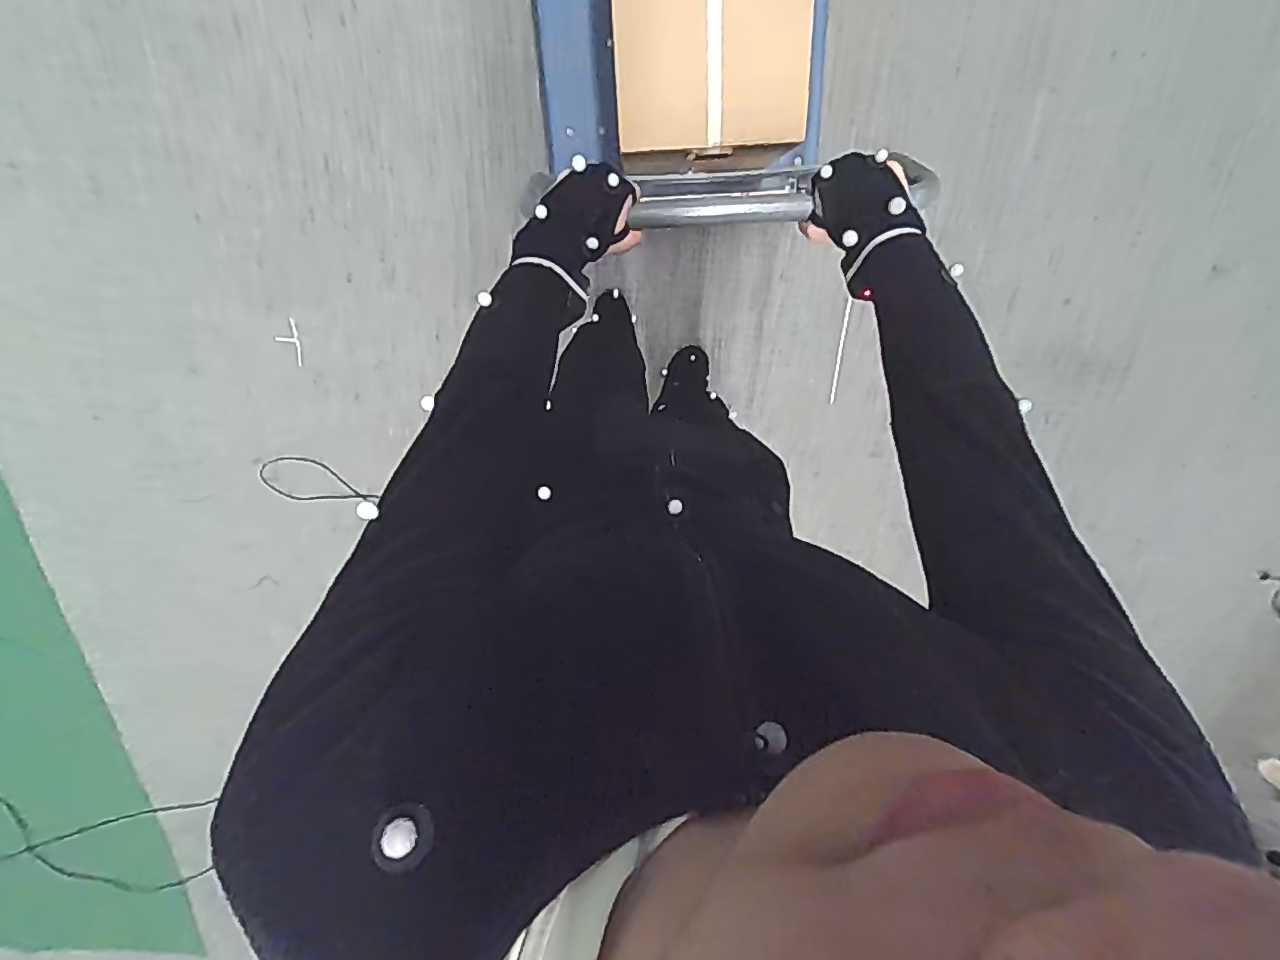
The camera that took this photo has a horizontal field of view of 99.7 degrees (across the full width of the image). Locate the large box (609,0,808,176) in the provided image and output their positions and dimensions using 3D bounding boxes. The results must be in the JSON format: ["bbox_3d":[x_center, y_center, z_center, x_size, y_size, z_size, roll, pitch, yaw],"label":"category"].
[{"bbox_3d":[0.108,-0.803,0.971,0.320,0.320,0.408,-3,112,1],"label":"large box"}]
